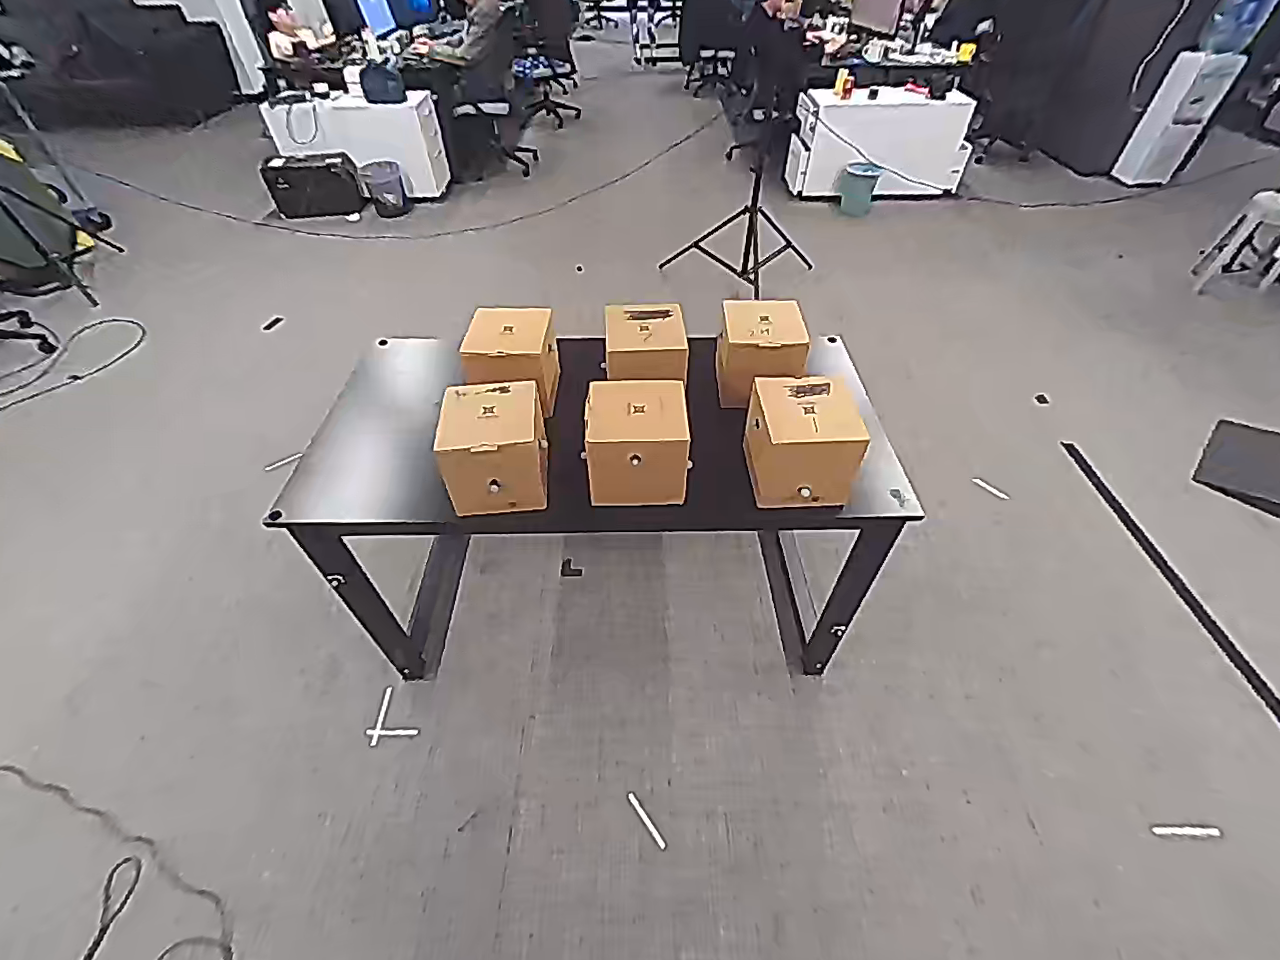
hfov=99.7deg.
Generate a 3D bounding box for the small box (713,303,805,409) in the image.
[{"bbox_3d":[0.256,-0.276,1.204,0.168,0.176,0.179,0,47,2],"label":"small box"}]

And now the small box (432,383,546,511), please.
[{"bbox_3d":[-0.267,-0.056,1.001,0.168,0.176,0.179,-5,47,-4],"label":"small box"}]

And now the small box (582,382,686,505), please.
[{"bbox_3d":[-0.010,-0.066,1.010,0.179,0.176,0.168,-1,47,-1],"label":"small box"}]

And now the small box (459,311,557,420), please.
[{"bbox_3d":[-0.279,-0.251,1.188,0.168,0.176,0.179,0,47,1],"label":"small box"}]

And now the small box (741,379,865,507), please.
[{"bbox_3d":[0.290,-0.068,1.005,0.168,0.176,0.179,-2,47,-1],"label":"small box"}]
